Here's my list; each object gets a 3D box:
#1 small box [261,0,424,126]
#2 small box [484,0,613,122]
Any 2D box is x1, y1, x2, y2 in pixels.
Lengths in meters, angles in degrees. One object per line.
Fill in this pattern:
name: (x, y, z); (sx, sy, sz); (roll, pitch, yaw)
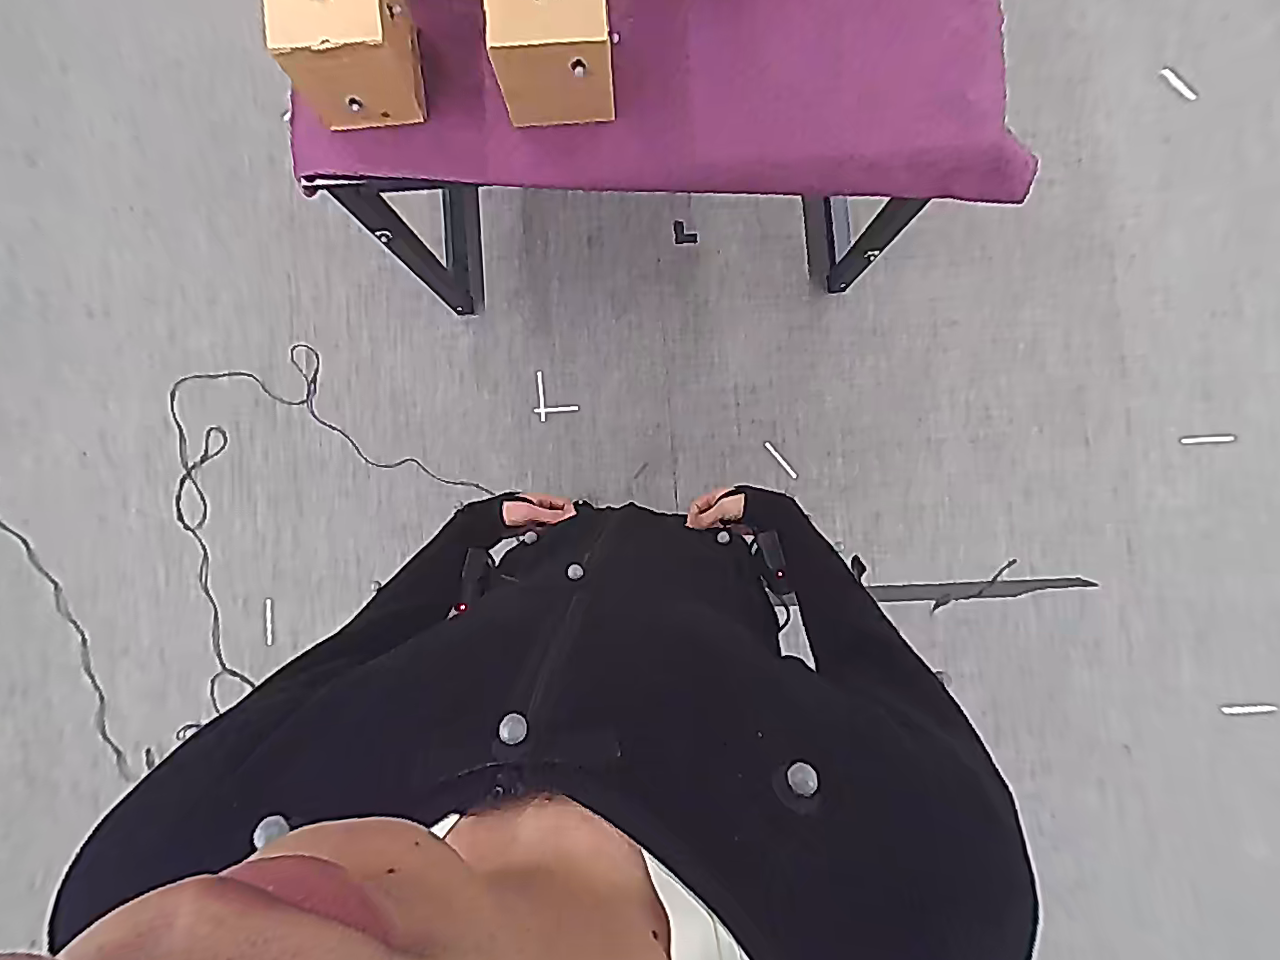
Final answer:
small box: (-0.456, -0.698, 0.844); (0.168, 0.176, 0.179); (-7, 89, -1)
small box: (-0.133, -0.693, 0.841); (0.179, 0.176, 0.168); (-3, 88, 1)
